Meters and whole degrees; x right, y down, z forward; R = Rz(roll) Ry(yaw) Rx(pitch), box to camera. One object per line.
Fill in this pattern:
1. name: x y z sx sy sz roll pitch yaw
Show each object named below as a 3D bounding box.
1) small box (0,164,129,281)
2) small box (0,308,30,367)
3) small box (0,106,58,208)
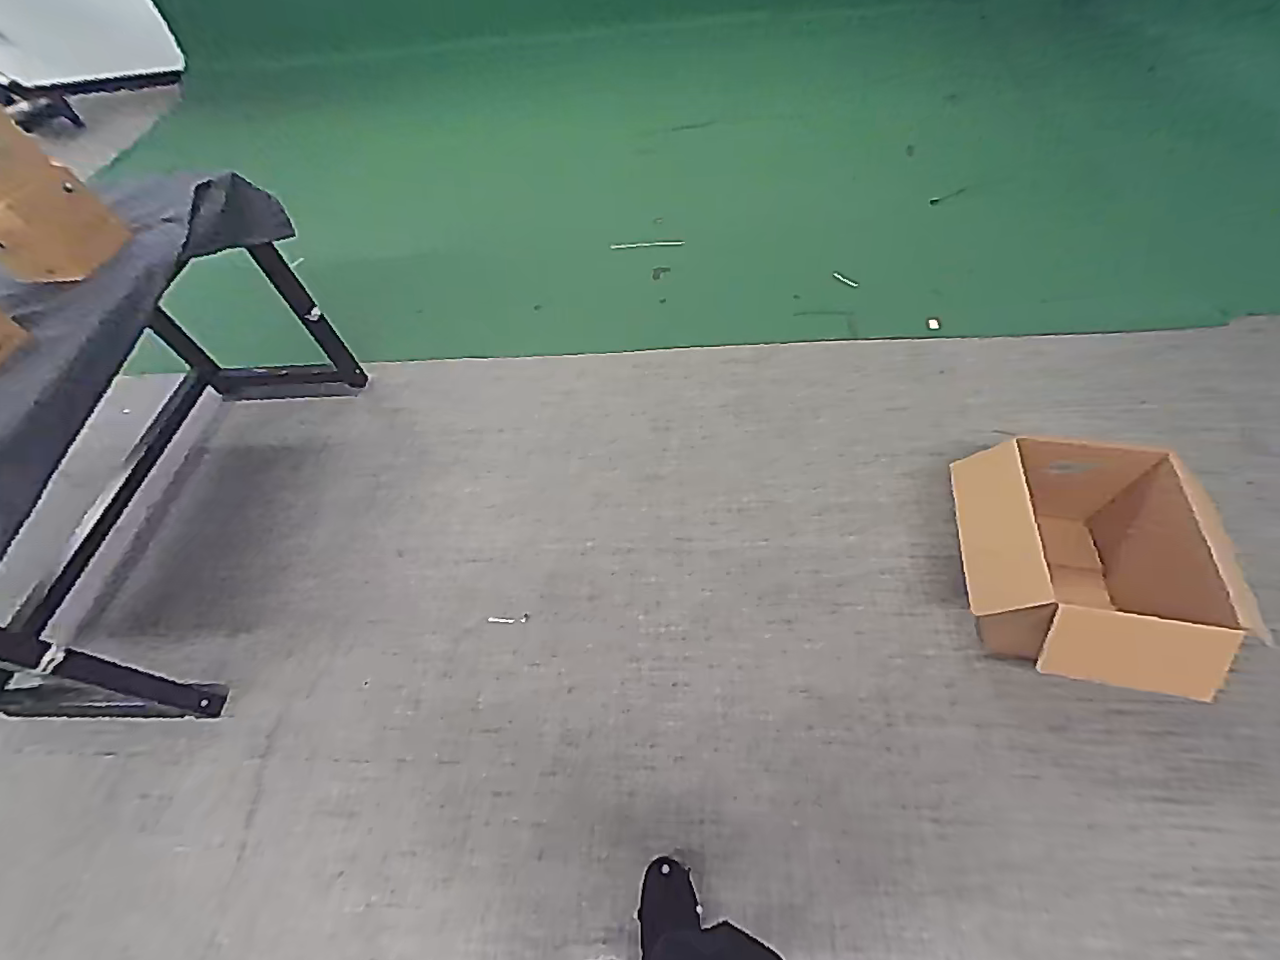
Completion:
1. small box: -1.275 -0.545 1.160 0.168 0.176 0.179 0 55 7
2. small box: -1.298 -0.268 0.970 0.179 0.176 0.168 -1 56 5
3. small box: -1.306 -0.637 1.022 0.168 0.176 0.179 3 56 9
